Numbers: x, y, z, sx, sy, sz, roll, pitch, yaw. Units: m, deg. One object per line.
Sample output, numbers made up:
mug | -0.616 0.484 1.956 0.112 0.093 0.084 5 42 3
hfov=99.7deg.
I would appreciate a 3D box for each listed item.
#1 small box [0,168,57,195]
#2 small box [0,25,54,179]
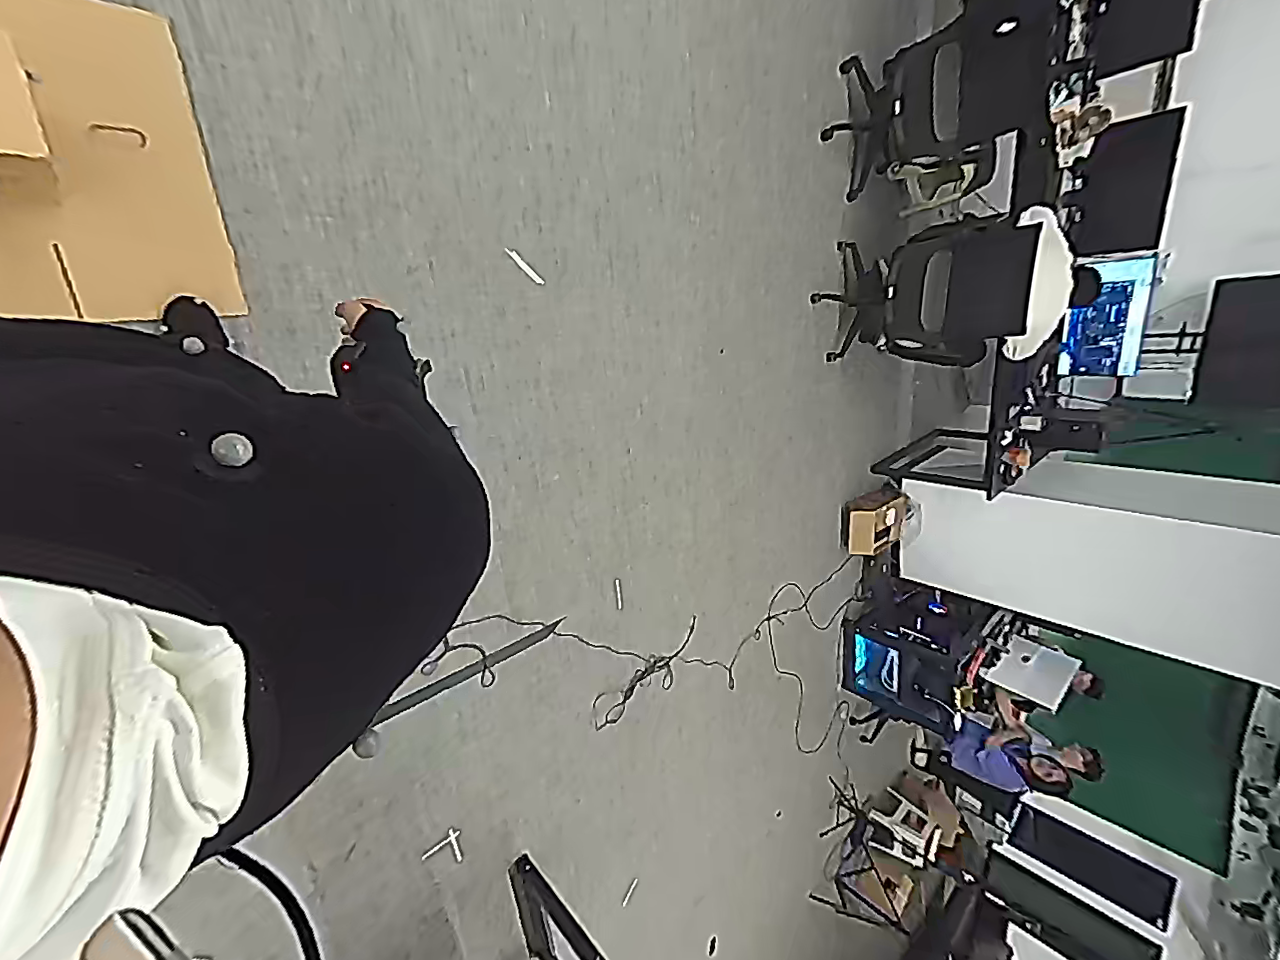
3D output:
small box | -1.174 -0.613 0.951 0.179 0.176 0.168 -17 111 -39
small box | -1.056 -0.591 0.836 0.168 0.176 0.179 -17 111 -39
